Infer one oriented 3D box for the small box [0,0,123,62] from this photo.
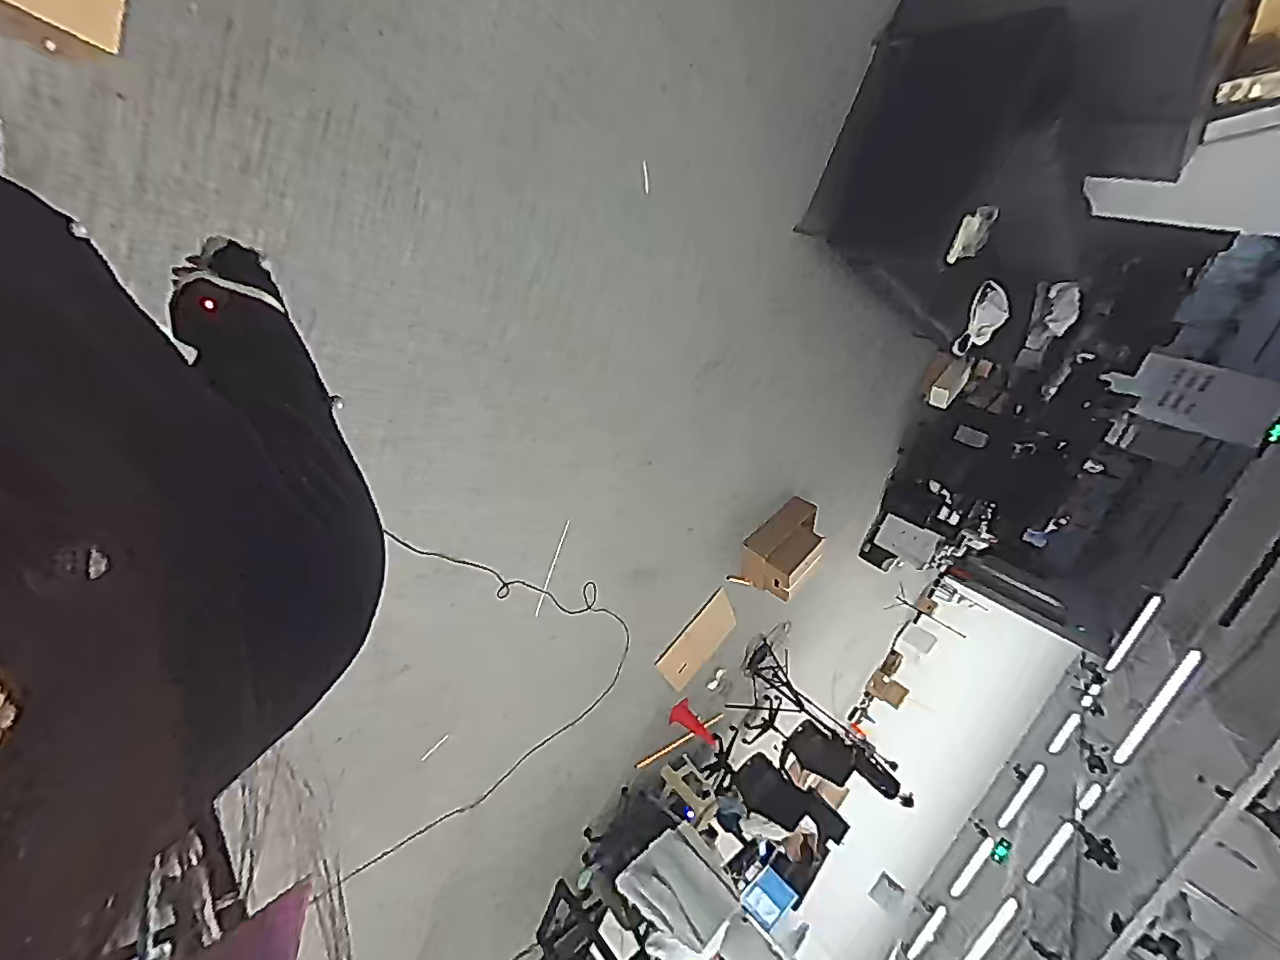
[{"bbox_3d":[-0.708,-0.609,0.605,0.179,0.176,0.168,3,111,-51],"label":"small box"}]
